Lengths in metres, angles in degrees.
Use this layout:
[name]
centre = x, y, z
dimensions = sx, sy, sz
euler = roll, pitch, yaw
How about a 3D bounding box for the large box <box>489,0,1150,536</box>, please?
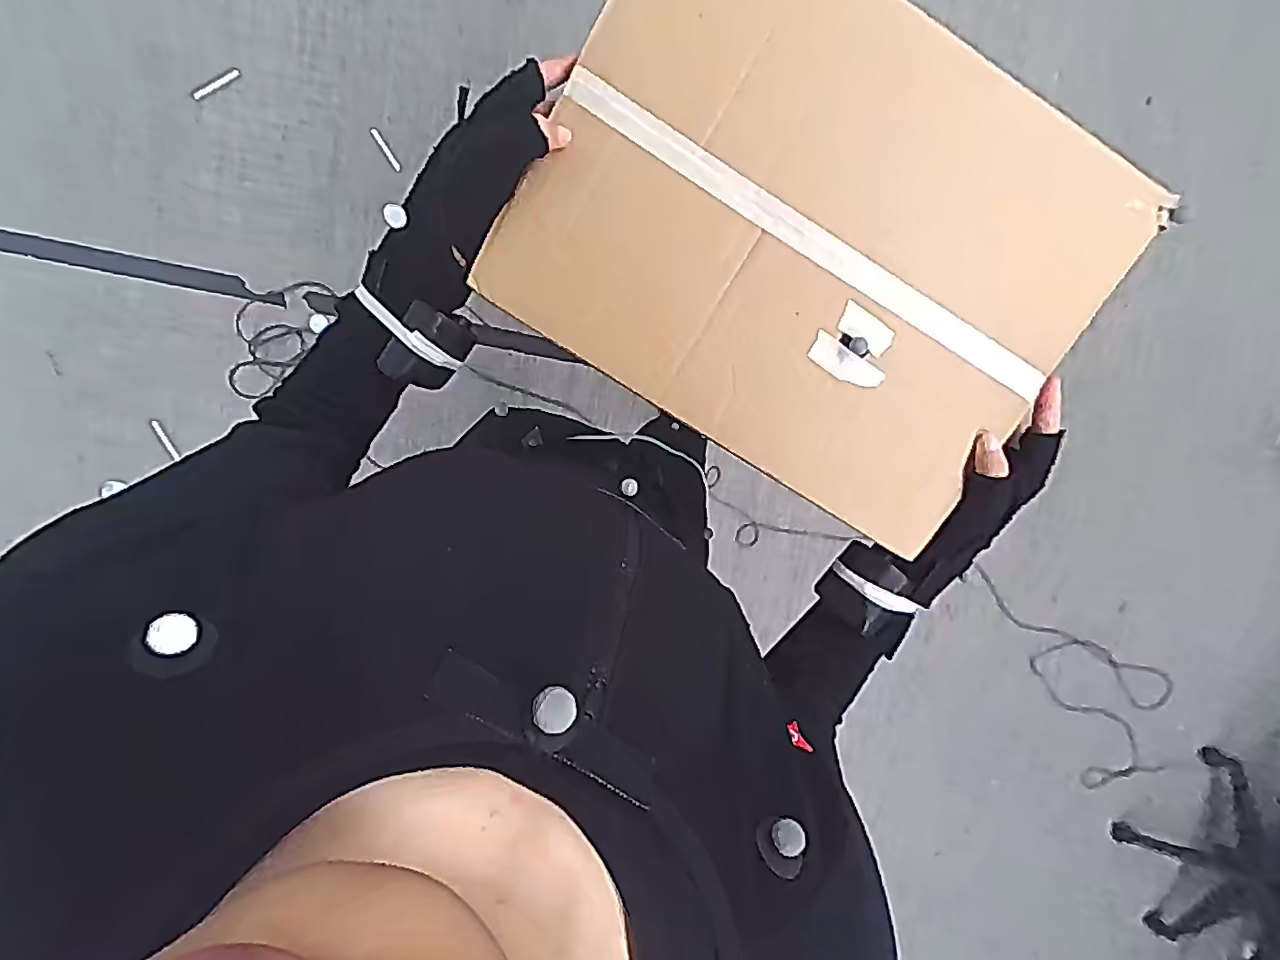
[large box]
centre = 0.129, -0.206, 0.548
dimensions = 0.408, 0.320, 0.320
euler = 31, 100, -5
